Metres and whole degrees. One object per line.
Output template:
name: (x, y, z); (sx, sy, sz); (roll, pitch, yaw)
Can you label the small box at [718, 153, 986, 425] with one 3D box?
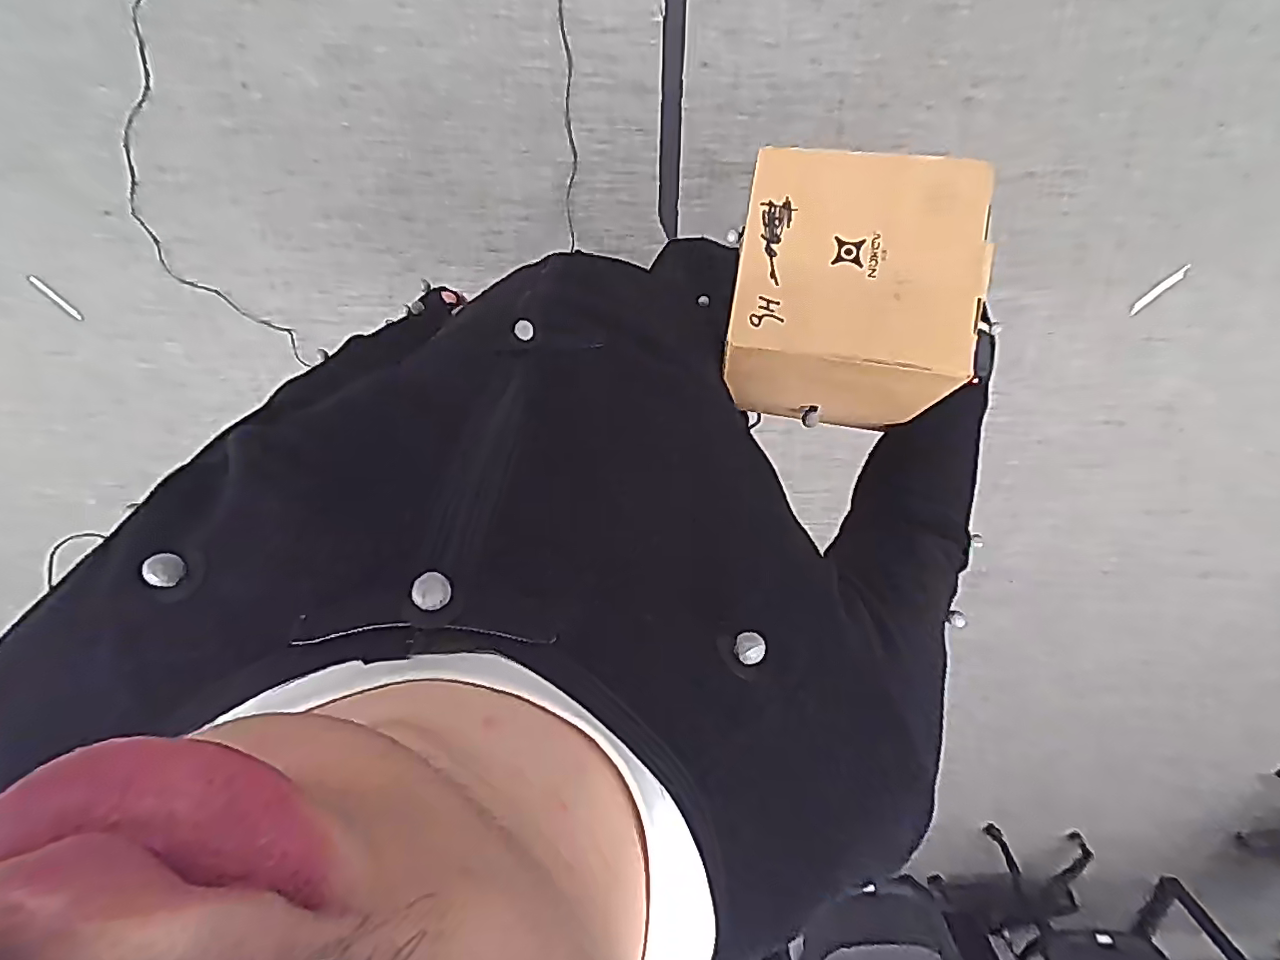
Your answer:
small box: (0.174, -0.156, 0.494); (0.179, 0.176, 0.168); (10, 82, 7)
